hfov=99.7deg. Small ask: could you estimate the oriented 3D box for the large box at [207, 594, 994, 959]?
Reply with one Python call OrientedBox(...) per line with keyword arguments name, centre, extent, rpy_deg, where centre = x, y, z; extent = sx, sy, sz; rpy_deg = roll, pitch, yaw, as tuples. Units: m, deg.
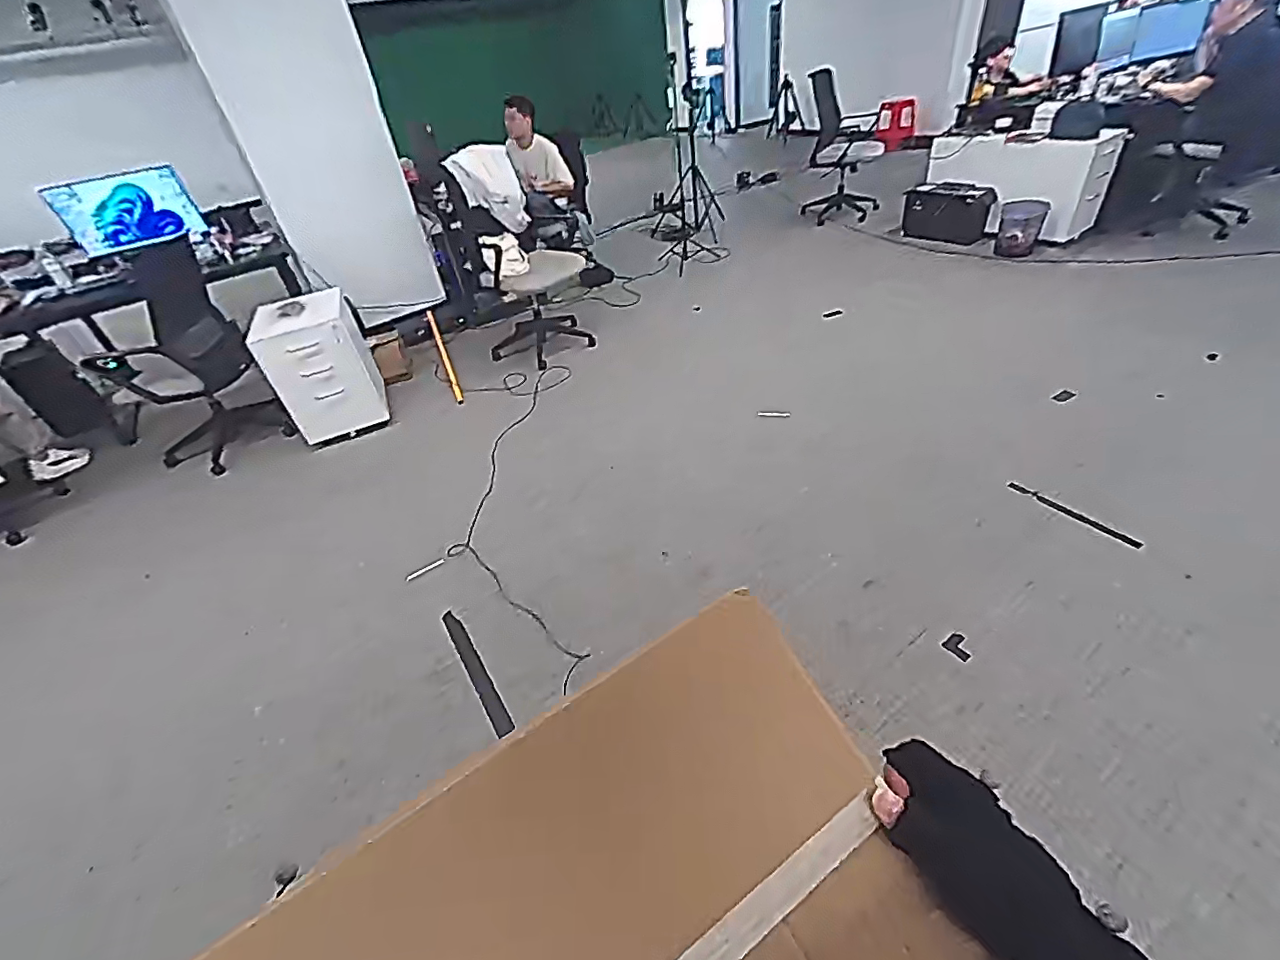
OrientedBox(name="large box", centre=(-0.032, 0.353, 0.431), extent=(0.408, 0.320, 0.320), rpy_deg=(-30, 76, -18))
